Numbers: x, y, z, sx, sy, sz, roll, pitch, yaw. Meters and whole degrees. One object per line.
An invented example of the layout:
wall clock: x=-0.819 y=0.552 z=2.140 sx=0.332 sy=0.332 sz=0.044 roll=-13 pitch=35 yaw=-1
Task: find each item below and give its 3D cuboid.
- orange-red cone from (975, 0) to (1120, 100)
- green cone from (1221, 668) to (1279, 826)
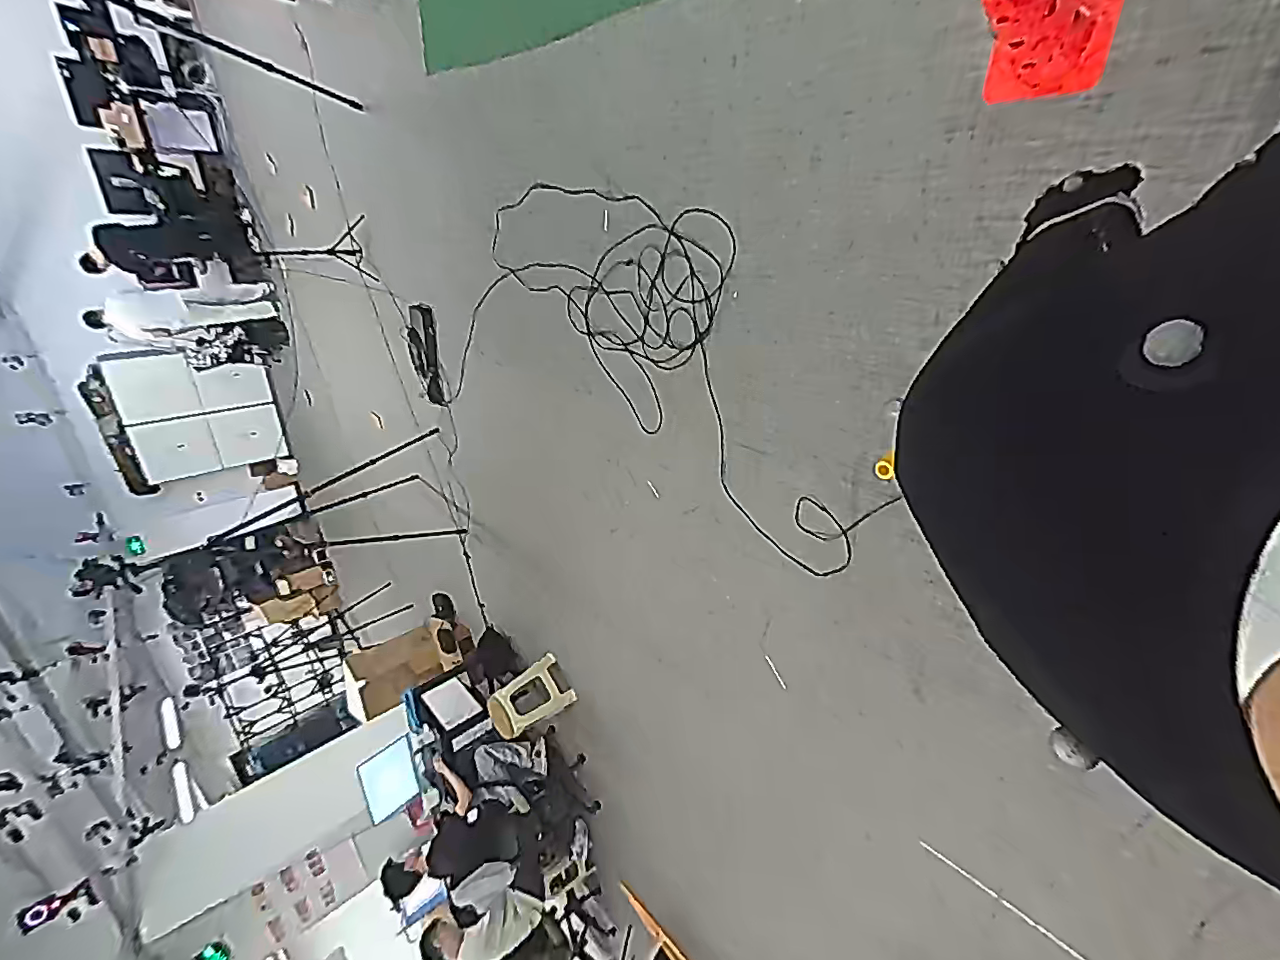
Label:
orange-red cone: x=0.672 y=-0.818 z=0.949 sx=0.198 sy=0.360 sz=0.199 roll=26 pitch=126 yaw=42
green cone: x=1.196 y=0.538 z=0.967 sx=0.202 sy=0.368 sz=0.200 roll=24 pitch=124 yaw=43
